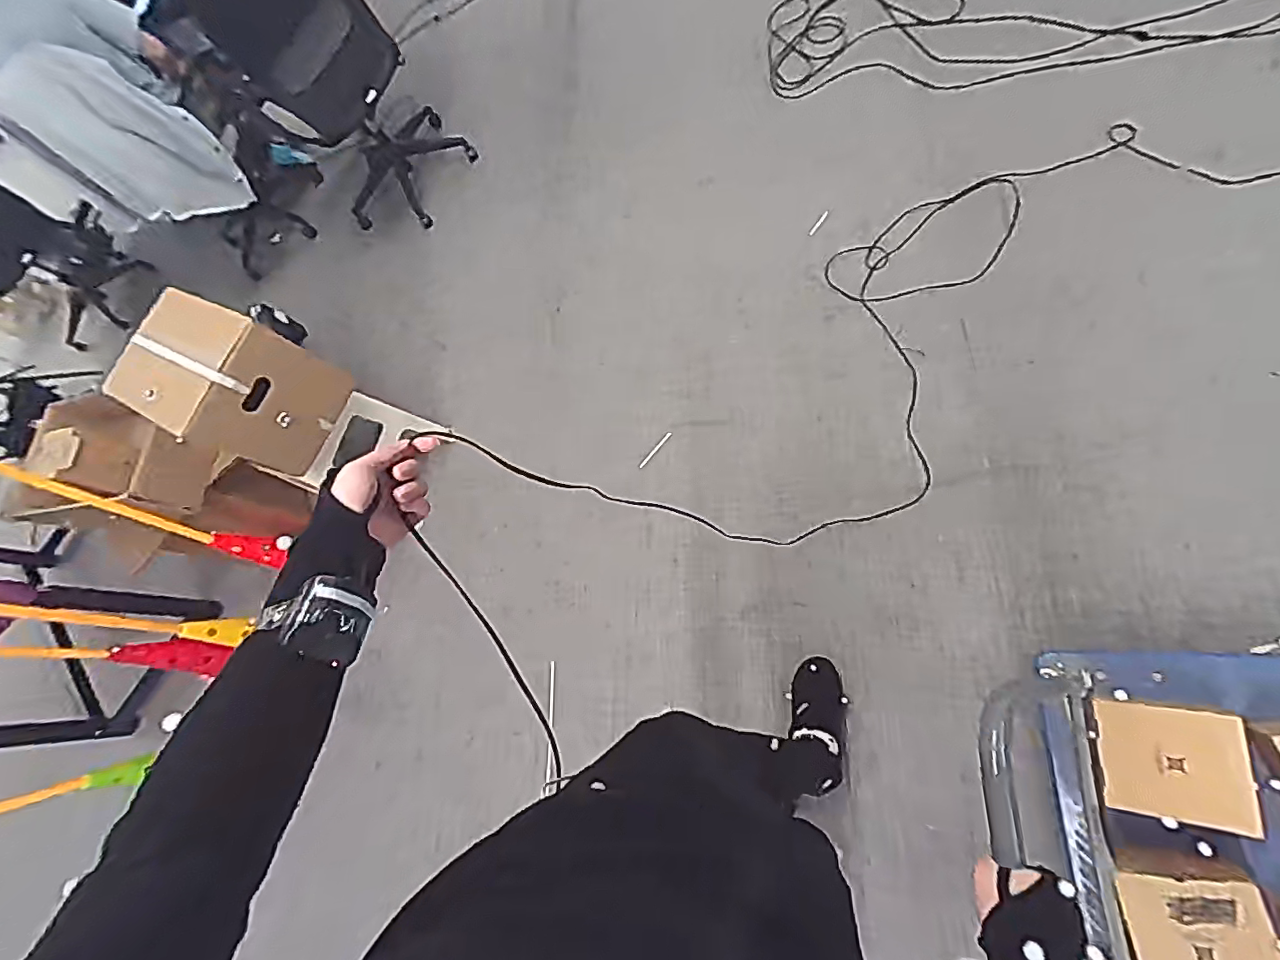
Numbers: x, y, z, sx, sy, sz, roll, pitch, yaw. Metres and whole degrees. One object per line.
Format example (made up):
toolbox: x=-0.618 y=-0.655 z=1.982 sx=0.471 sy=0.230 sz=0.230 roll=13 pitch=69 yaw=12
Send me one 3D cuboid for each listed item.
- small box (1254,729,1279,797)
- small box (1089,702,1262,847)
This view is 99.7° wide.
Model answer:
small box: x=1.039 y=0.447 z=0.768 sx=0.179 sy=0.176 sz=0.168 roll=-24 pitch=62 yaw=31
small box: x=0.869 y=0.470 z=0.898 sx=0.179 sy=0.176 sz=0.168 roll=-7 pitch=72 yaw=38
